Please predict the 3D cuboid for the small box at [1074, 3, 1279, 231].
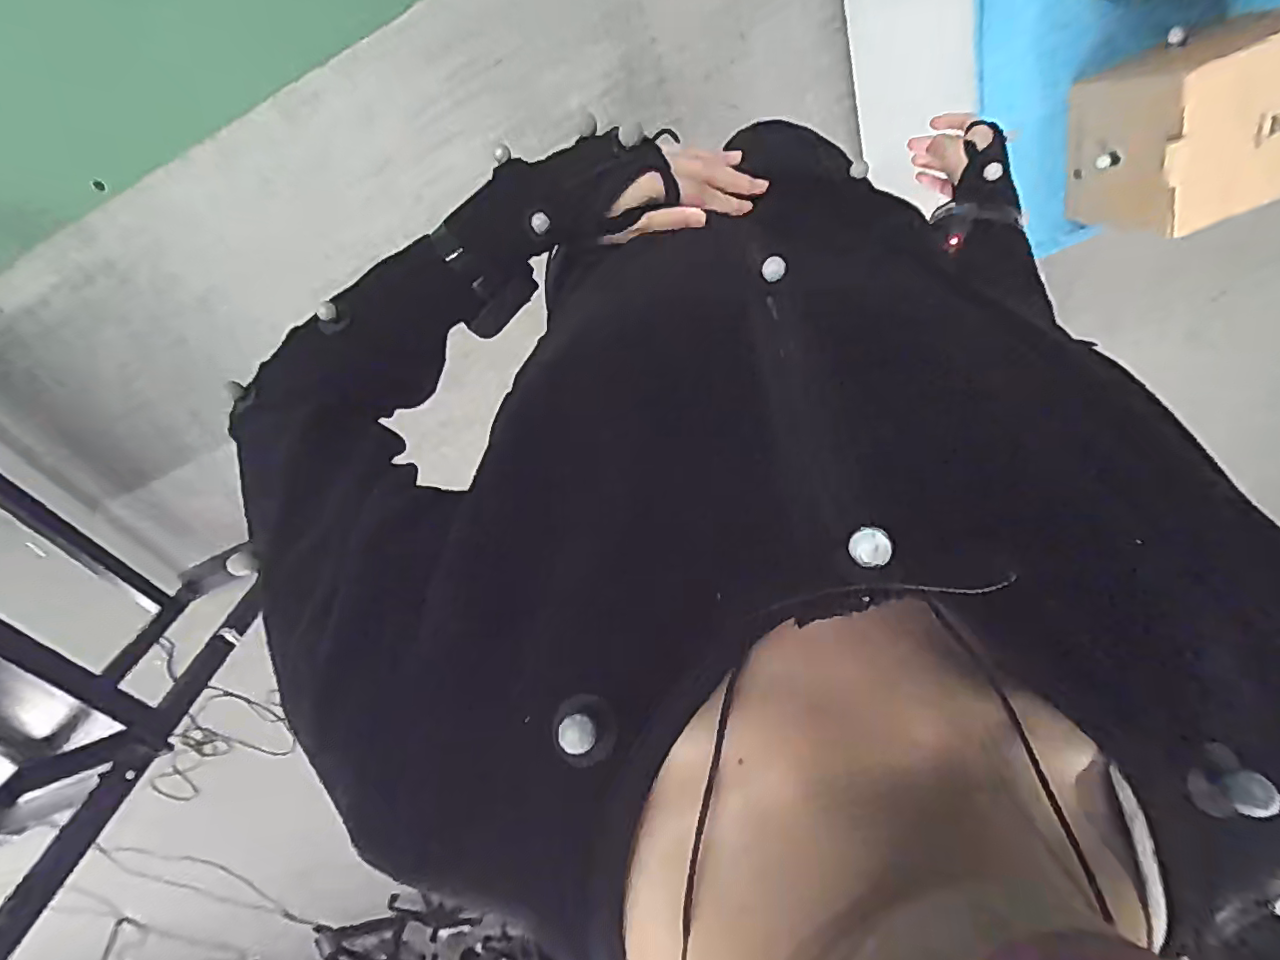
[{"bbox_3d":[0.639,-0.408,0.614,0.179,0.176,0.168,-19,122,10],"label":"small box"}]
